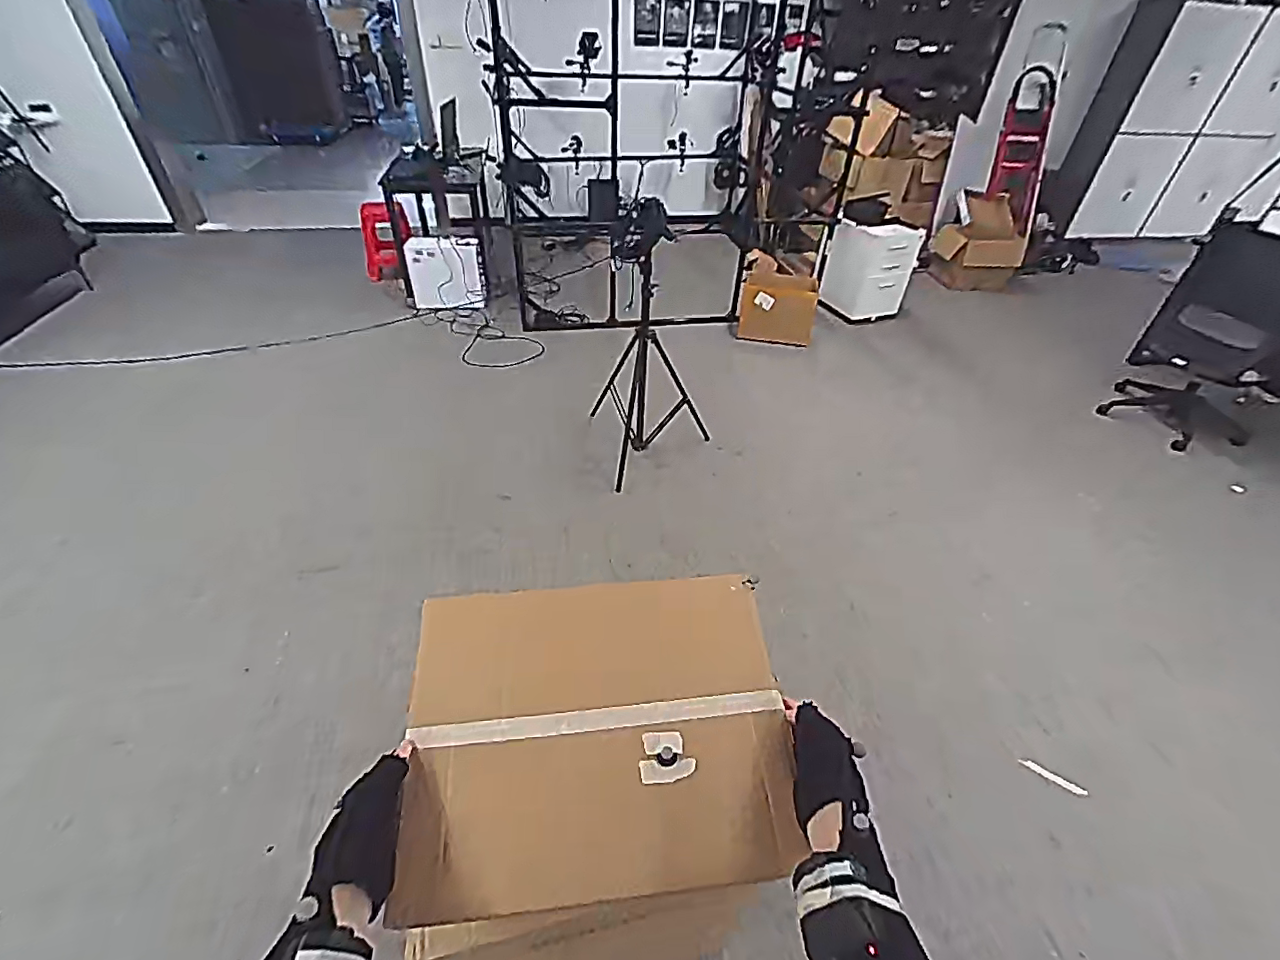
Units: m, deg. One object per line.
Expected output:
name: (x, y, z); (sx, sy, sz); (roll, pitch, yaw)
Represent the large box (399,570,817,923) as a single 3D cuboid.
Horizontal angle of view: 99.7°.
large box: (-0.049, 0.343, 0.708); (0.408, 0.320, 0.320); (-4, 54, -7)
